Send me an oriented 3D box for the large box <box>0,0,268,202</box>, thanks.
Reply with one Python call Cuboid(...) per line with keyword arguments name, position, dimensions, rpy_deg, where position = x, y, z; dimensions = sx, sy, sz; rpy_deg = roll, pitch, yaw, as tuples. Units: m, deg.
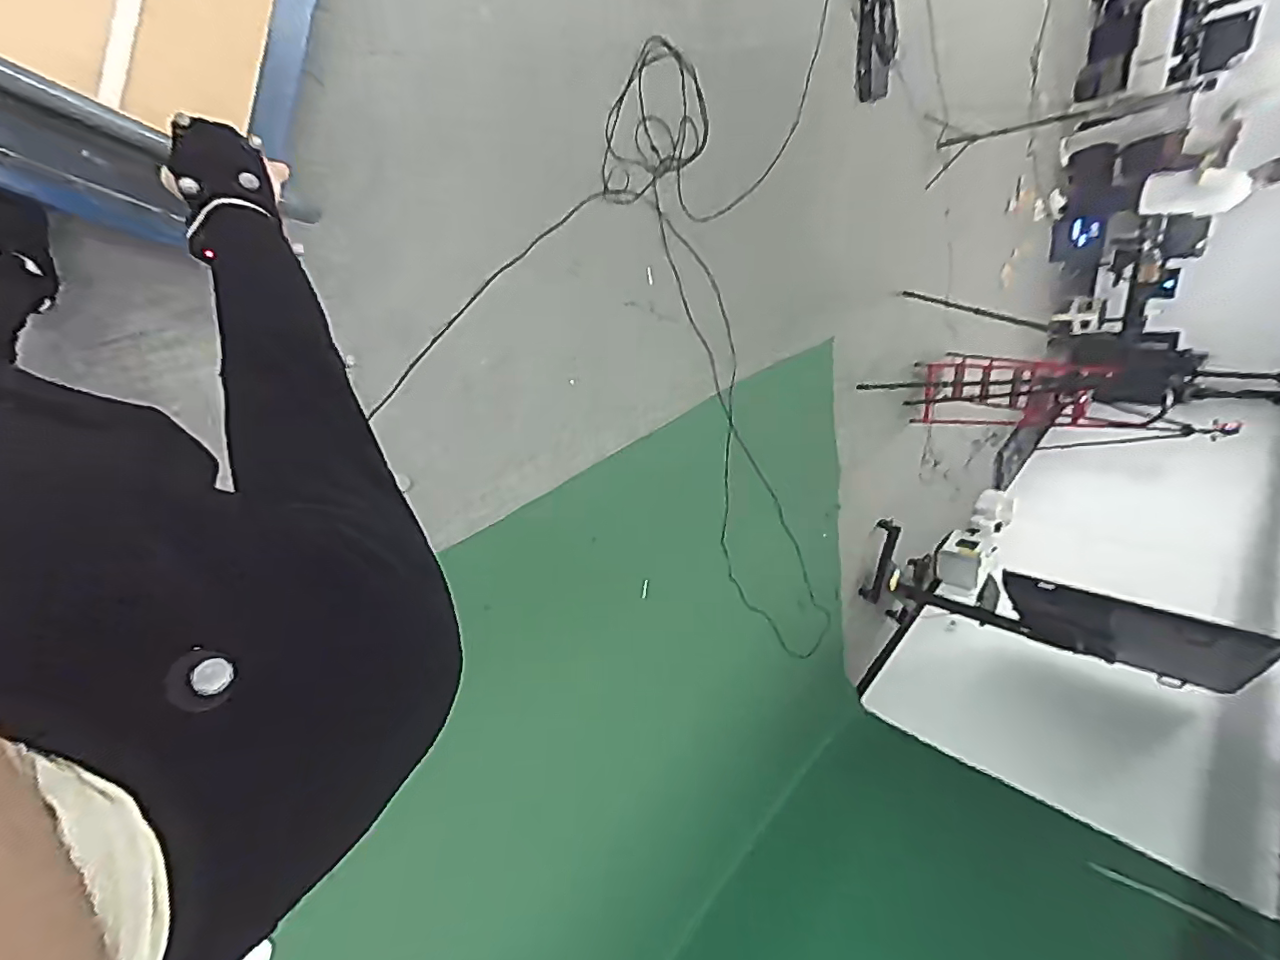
Cuboid(name="large box", position=(-0.830, -0.743, 0.876), dimensions=(0.320, 0.320, 0.408), rpy_deg=(12, 92, -46))
